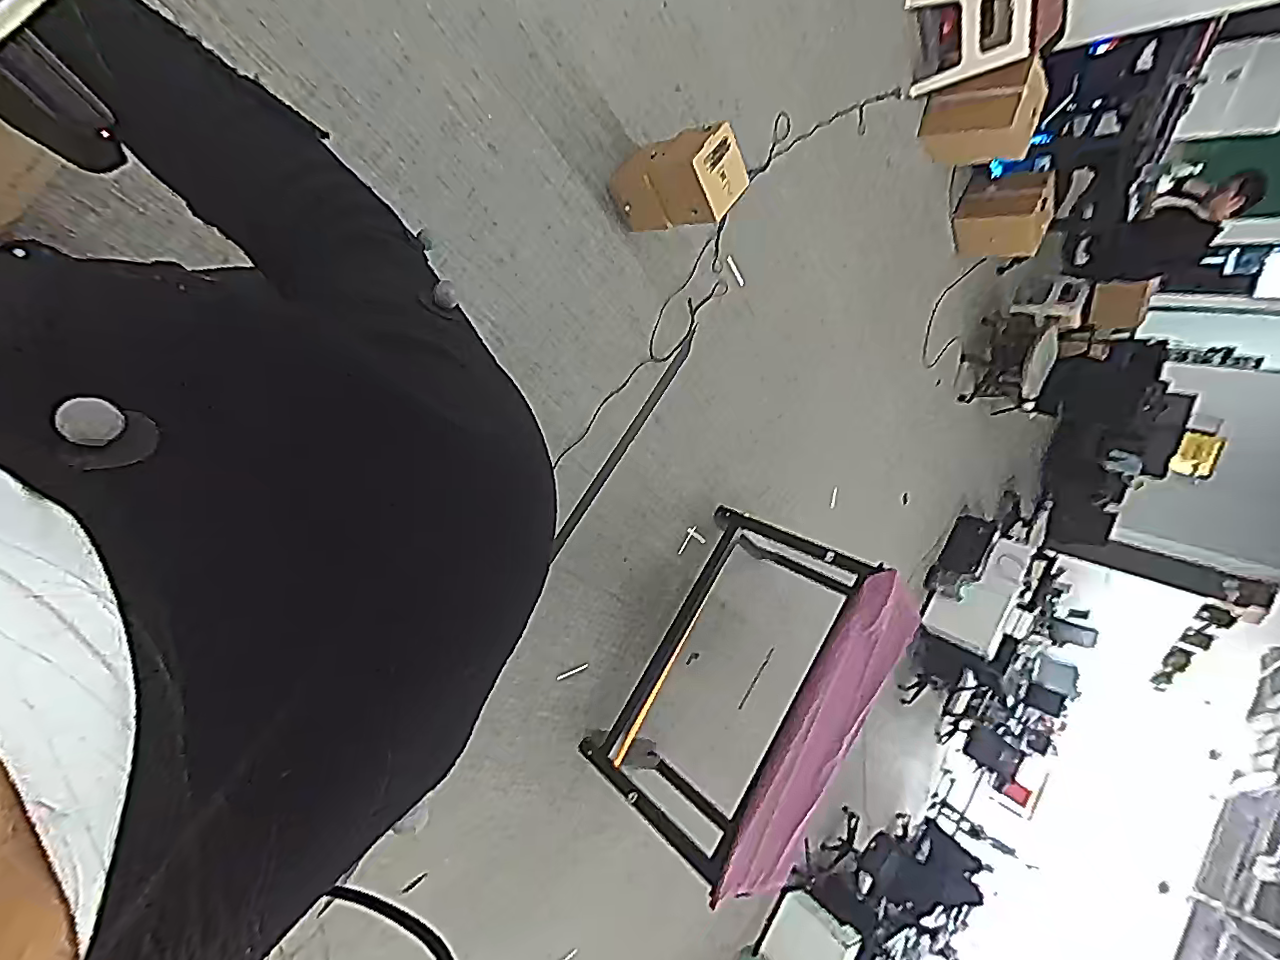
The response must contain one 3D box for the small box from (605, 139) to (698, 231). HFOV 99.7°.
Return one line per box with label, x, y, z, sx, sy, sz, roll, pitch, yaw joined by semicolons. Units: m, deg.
small box;0.032;-0.853;1.573;0.179;0.176;0.168;-53;134;-14
